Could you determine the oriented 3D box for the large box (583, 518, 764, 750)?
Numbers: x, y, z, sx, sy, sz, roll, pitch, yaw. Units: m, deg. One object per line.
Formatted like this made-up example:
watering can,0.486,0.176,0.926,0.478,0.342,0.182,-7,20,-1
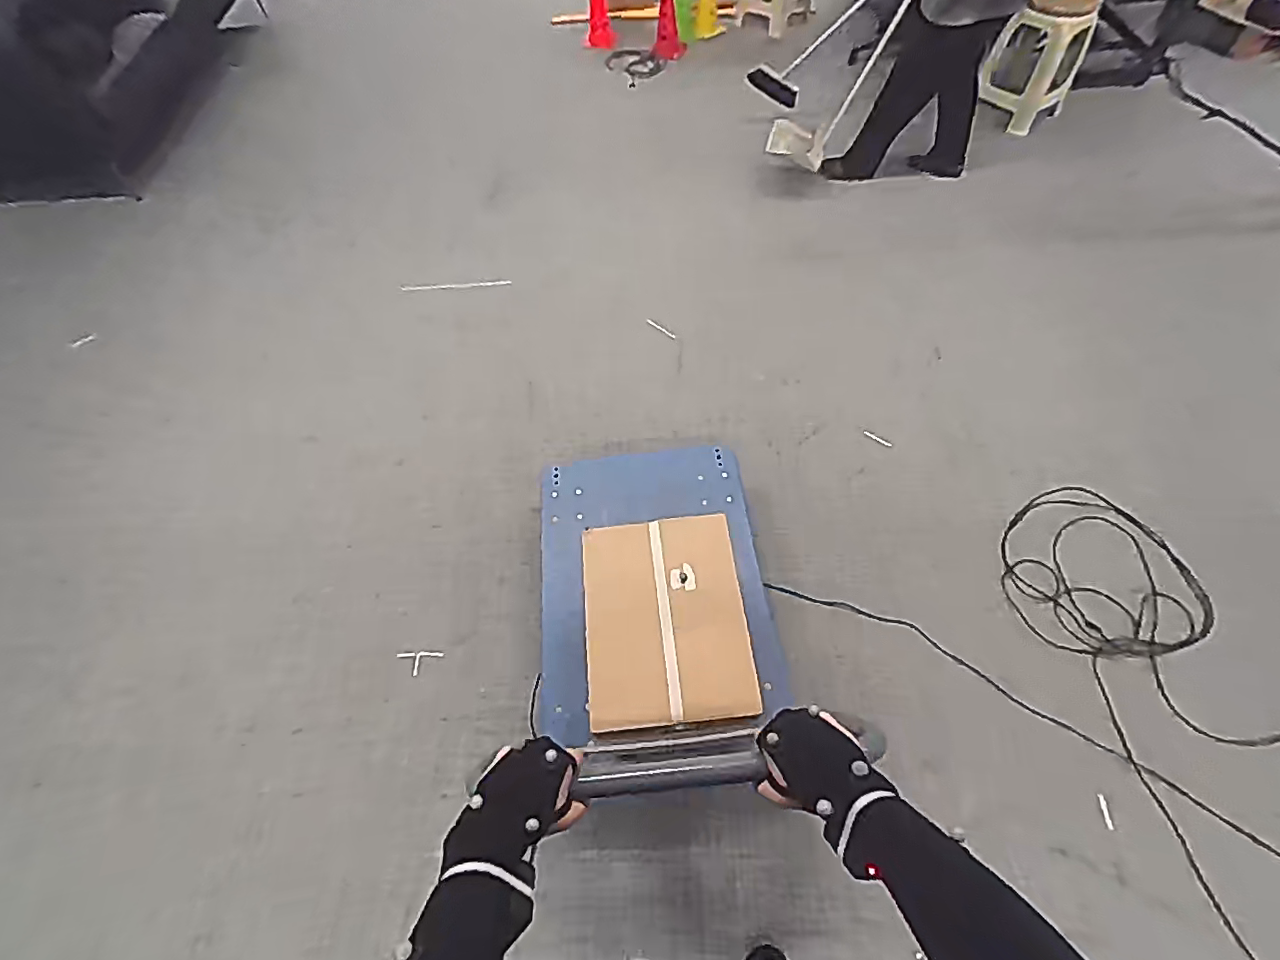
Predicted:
large box,0.060,0.345,1.193,0.320,0.320,0.408,-6,58,-1
